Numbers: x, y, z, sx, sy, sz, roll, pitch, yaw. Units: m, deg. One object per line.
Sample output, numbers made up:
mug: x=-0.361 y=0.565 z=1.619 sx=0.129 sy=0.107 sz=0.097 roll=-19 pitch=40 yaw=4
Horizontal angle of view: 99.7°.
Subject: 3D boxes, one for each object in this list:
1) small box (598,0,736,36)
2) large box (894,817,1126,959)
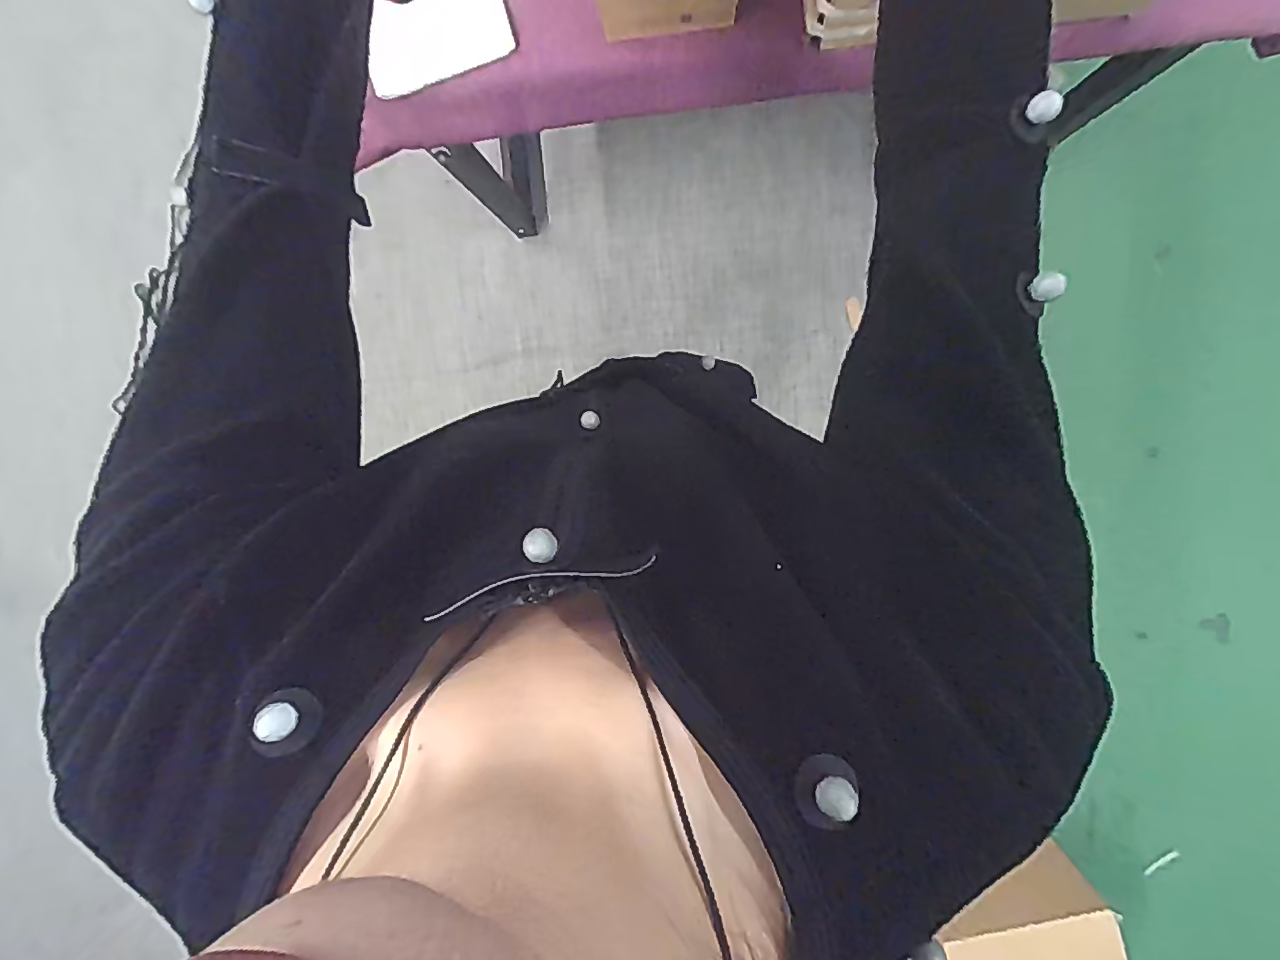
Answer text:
small box: x=0.026 y=-0.633 z=0.595 sx=0.168 sy=0.176 sz=0.179 roll=-3 pitch=98 yaw=5
large box: x=0.973 y=1.190 z=1.446 sx=0.408 sy=0.320 sz=0.320 roll=-19 pitch=97 yaw=6
